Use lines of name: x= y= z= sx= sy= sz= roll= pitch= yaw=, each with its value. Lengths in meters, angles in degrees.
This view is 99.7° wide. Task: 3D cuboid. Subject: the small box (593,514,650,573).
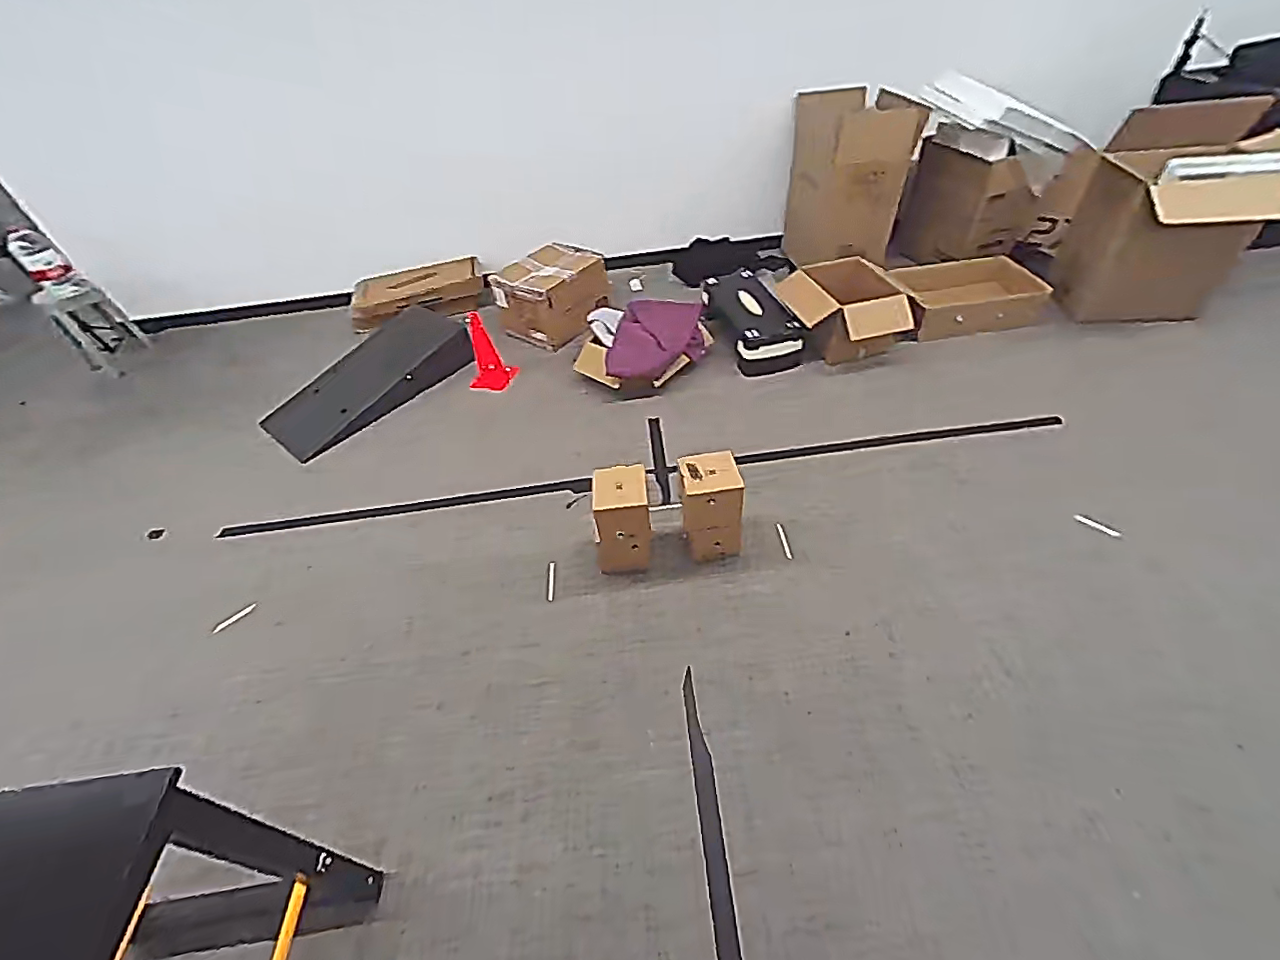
small box: x=-0.060 y=0.193 z=1.810 sx=0.179 sy=0.176 sz=0.168 roll=-7 pitch=45 yaw=1

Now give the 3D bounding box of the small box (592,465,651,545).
small box: x=-0.058 y=0.080 z=1.692 sx=0.168 sy=0.176 sz=0.179 roll=-7 pitch=46 yaw=2

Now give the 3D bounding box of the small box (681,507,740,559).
small box: x=0.235 y=0.149 z=1.820 sx=0.168 sy=0.176 sz=0.179 roll=-9 pitch=46 yaw=-2

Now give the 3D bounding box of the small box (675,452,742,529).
small box: x=0.214 y=0.036 z=1.700 sx=0.179 sy=0.176 sz=0.168 roll=-9 pitch=45 yaw=-2
